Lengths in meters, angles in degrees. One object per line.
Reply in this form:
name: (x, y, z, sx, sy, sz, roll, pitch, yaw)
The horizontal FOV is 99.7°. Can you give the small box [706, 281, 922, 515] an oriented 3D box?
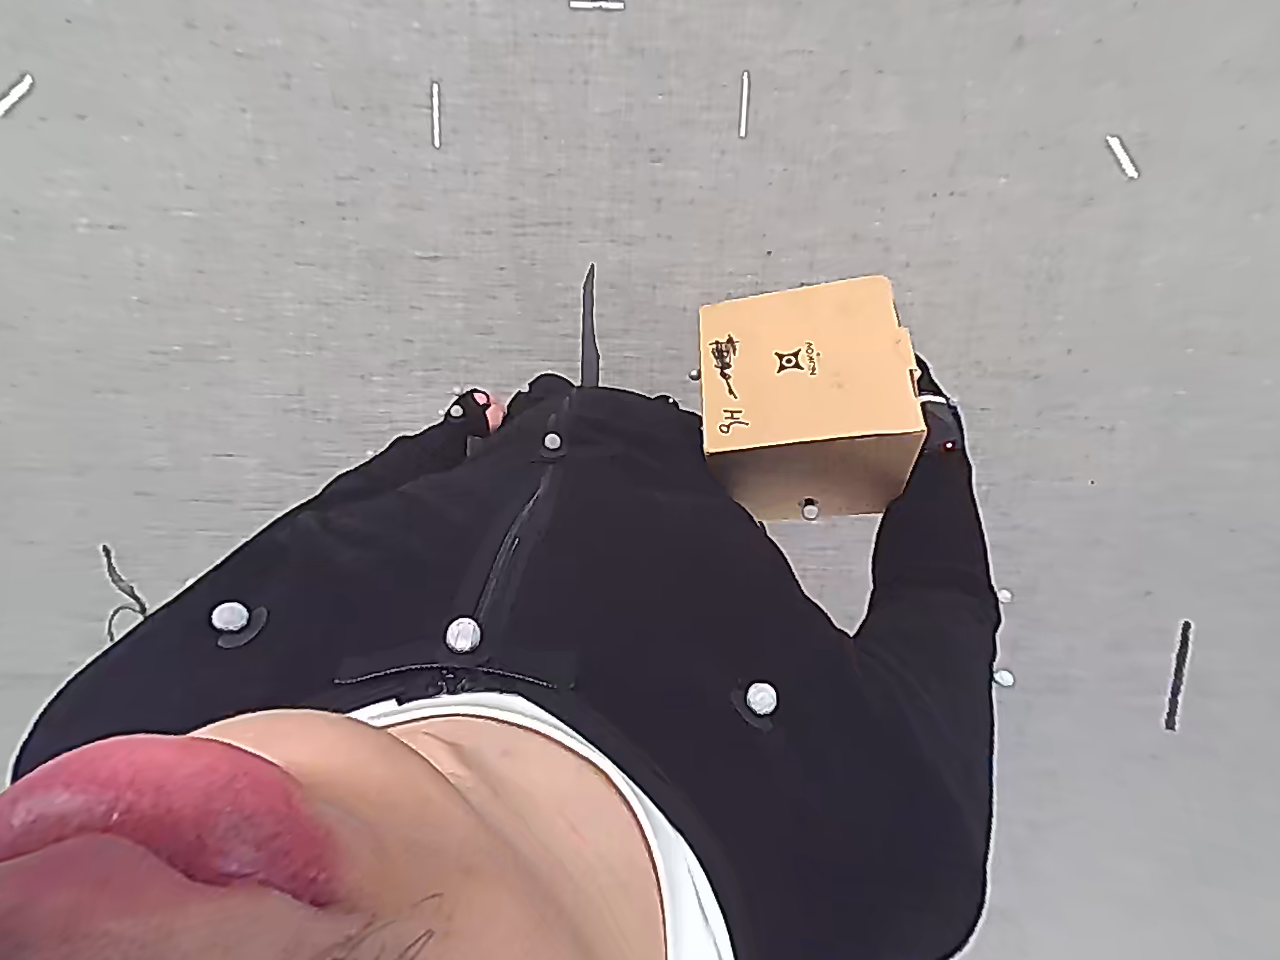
small box: (0.165, -0.072, 0.557, 0.179, 0.176, 0.168, -5, 63, 13)
